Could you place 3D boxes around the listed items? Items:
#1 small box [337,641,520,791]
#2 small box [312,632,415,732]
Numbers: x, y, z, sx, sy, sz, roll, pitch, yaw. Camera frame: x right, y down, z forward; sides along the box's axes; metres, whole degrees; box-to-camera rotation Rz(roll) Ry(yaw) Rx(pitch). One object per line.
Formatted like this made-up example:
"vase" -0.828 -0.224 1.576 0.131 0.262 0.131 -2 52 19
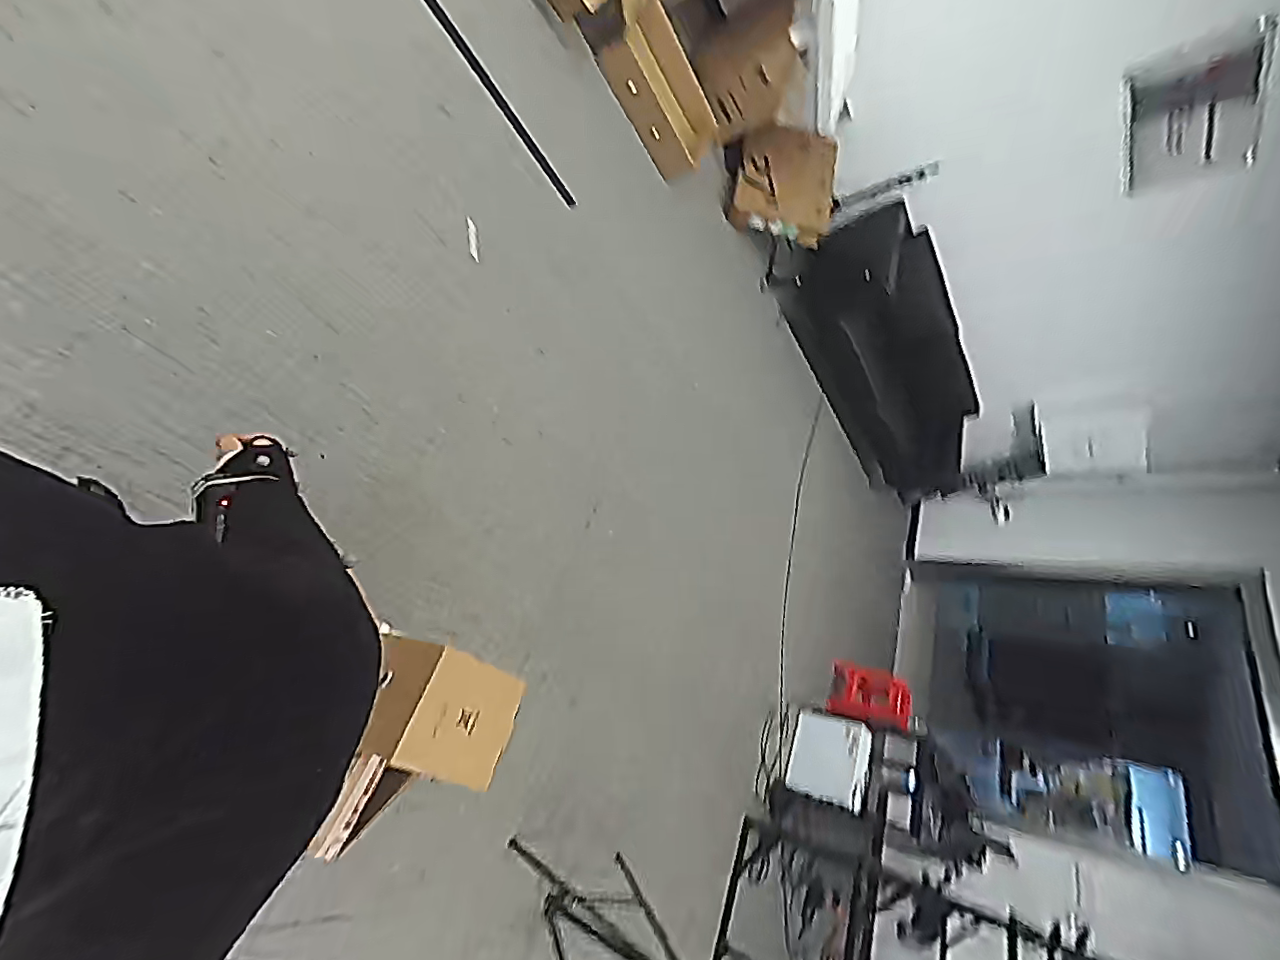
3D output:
"small box" -0.331 0.364 0.855 0.179 0.176 0.168 44 53 -36
"small box" -0.441 0.385 0.975 0.179 0.176 0.168 45 53 -36
